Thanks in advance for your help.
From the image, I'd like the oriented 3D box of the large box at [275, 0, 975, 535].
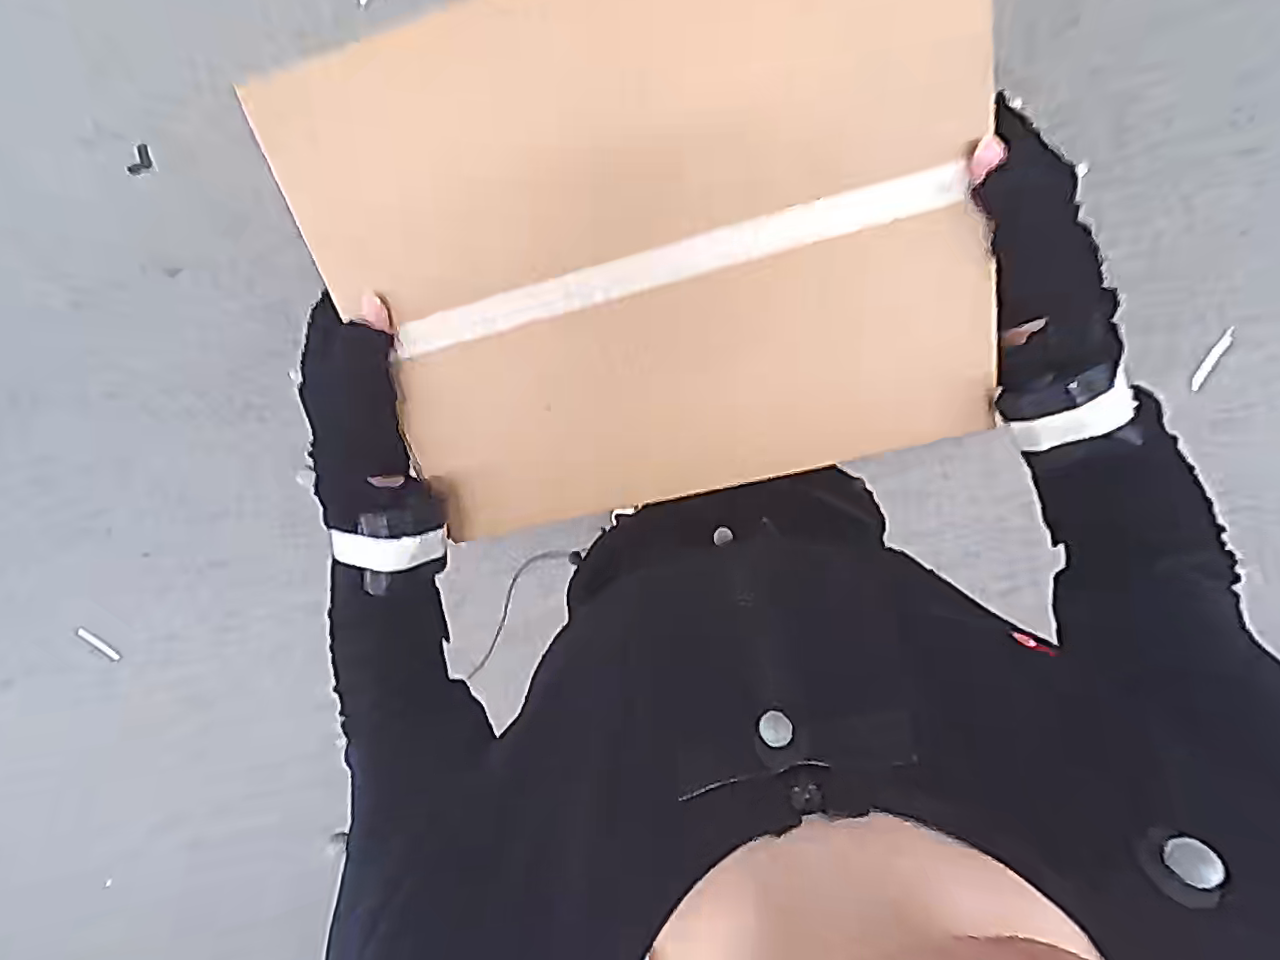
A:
[{"bbox_3d":[0.012,-0.191,0.488,0.408,0.320,0.320,-12,114,9],"label":"large box"}]
